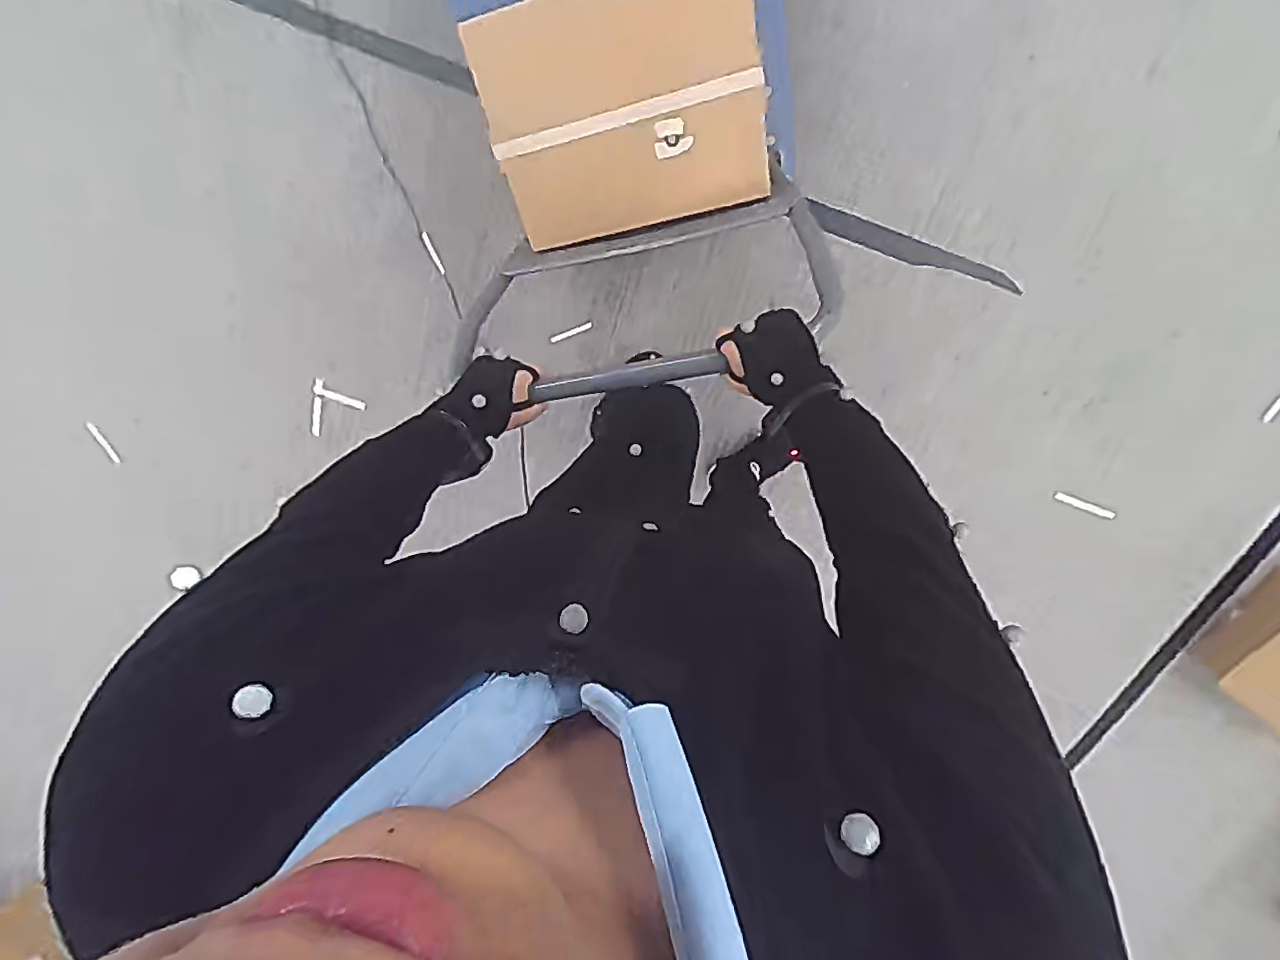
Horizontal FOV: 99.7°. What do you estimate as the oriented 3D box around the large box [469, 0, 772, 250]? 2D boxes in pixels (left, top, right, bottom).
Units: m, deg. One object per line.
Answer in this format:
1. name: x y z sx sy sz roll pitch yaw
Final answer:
1. large box: -0.009 -0.639 0.932 0.408 0.320 0.320 -9 126 12
